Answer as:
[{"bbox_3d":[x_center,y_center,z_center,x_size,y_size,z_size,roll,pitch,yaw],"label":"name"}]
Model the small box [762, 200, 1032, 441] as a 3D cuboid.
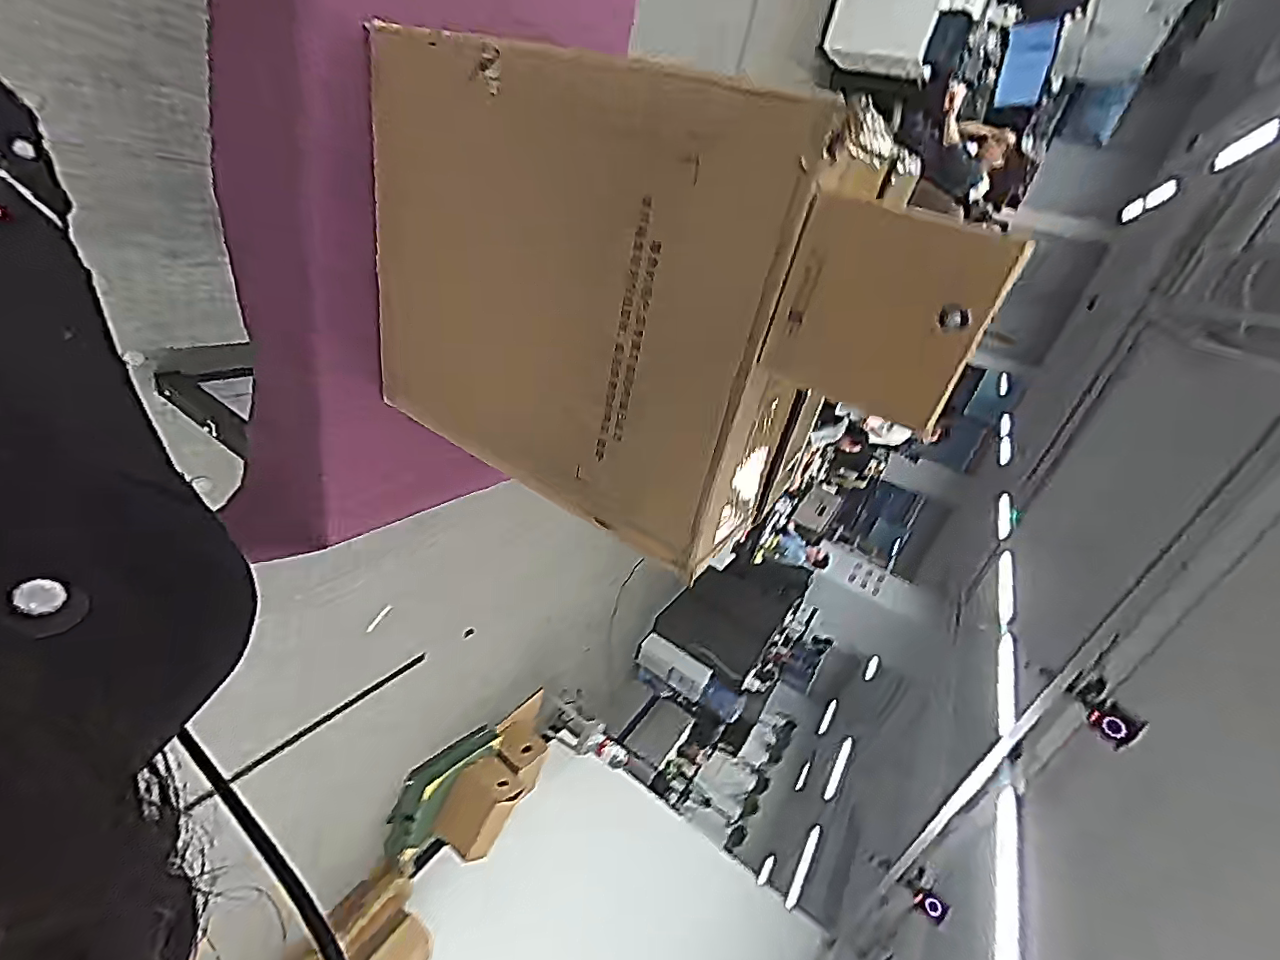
[{"bbox_3d":[0.247,-0.165,0.537,0.179,0.176,0.168,-31,143,-52],"label":"small box"}]
